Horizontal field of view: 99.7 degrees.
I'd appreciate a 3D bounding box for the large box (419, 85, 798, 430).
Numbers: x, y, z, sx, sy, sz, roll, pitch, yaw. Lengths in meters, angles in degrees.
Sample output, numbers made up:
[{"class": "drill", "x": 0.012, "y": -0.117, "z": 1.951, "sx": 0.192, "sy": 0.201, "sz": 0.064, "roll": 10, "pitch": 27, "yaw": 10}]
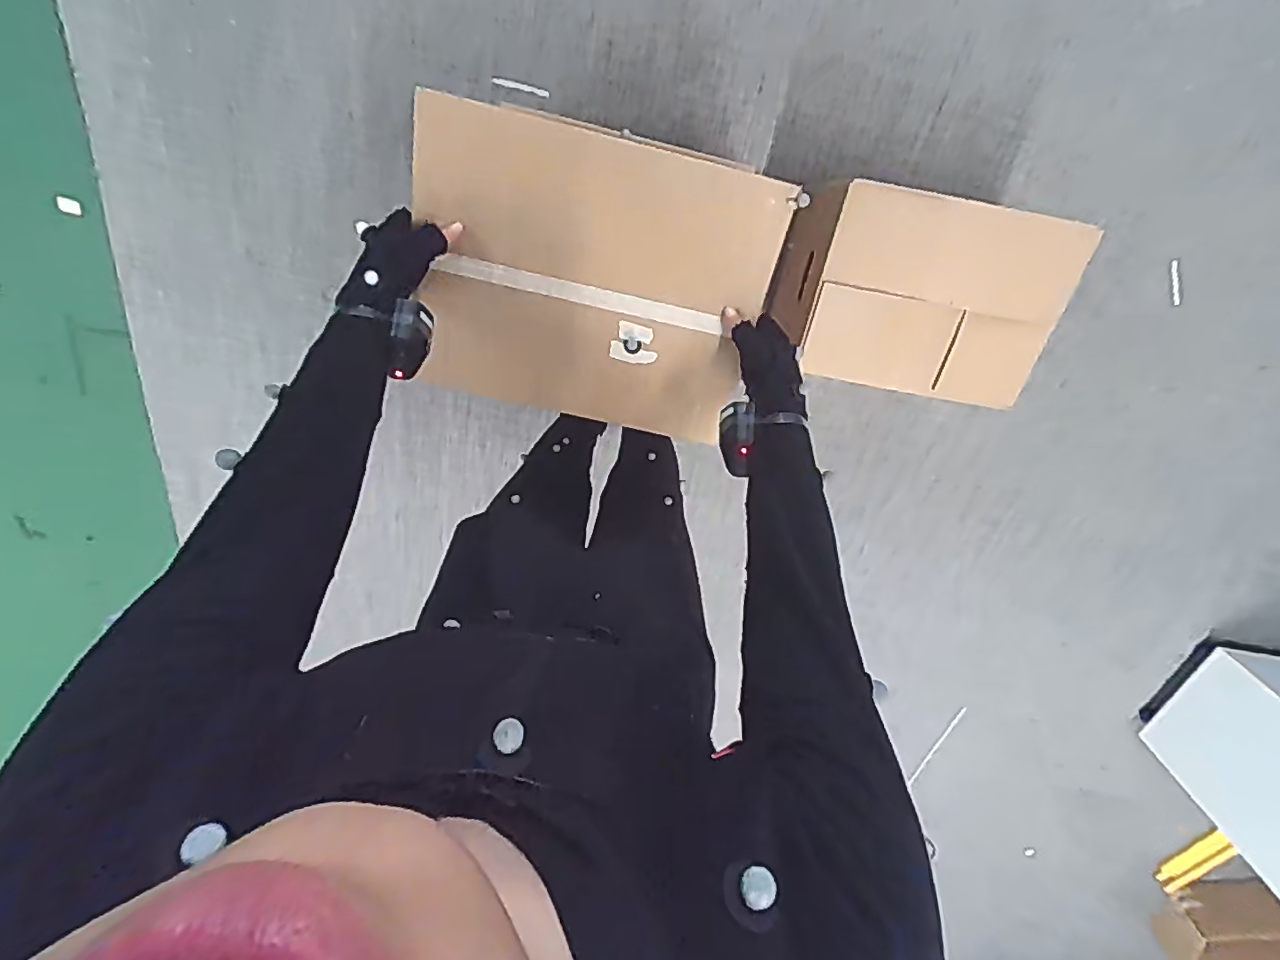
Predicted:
[{"class": "large box", "x": -0.054, "y": -0.303, "z": 0.759, "sx": 0.408, "sy": 0.320, "sz": 0.320, "roll": 12, "pitch": 120, "yaw": -5}]
